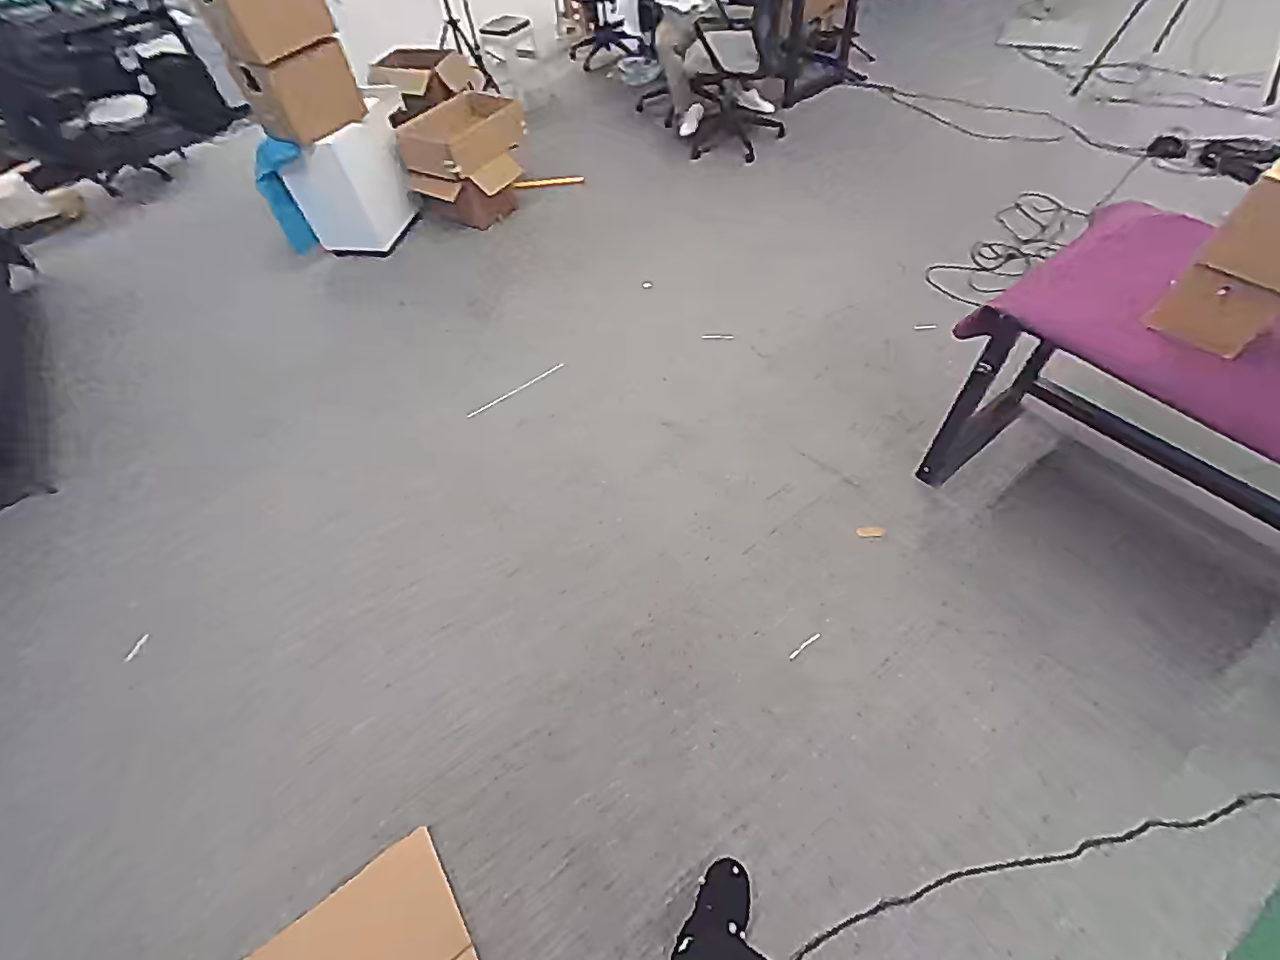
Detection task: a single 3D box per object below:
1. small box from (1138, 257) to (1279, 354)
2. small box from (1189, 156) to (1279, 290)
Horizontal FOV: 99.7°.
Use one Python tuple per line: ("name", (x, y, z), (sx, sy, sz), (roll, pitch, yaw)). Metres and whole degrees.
("small box", (1.232, -0.394, 1.142), (0.168, 0.176, 0.179), (-36, 58, -18))
("small box", (1.207, -0.480, 1.002), (0.168, 0.176, 0.179), (-34, 58, -17))
